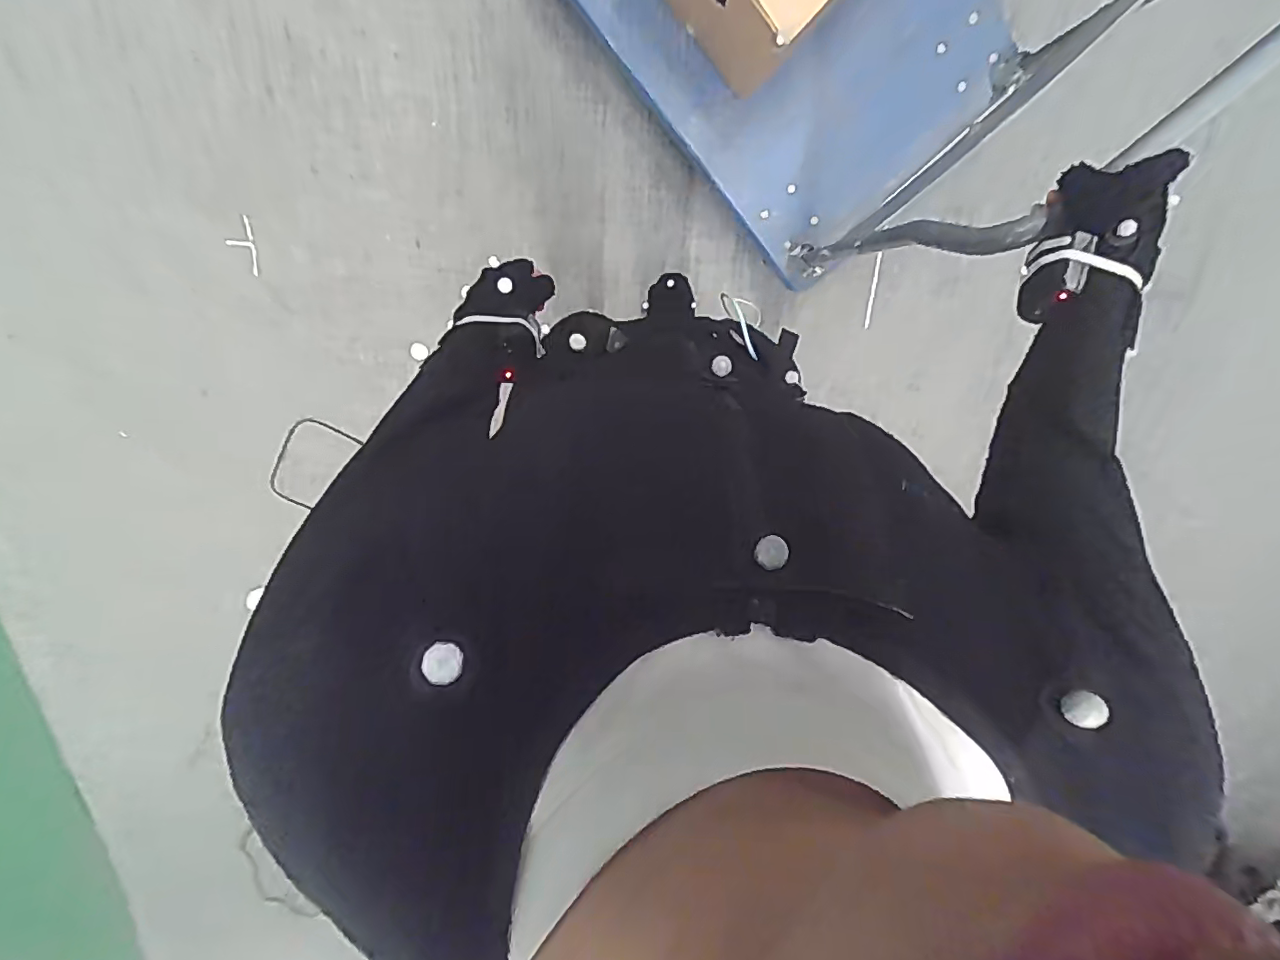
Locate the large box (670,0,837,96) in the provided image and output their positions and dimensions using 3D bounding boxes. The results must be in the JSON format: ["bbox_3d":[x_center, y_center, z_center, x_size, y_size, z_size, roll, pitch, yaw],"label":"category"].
[{"bbox_3d":[0.244,-0.916,0.828,0.408,0.320,0.320,-42,106,15],"label":"large box"}]
